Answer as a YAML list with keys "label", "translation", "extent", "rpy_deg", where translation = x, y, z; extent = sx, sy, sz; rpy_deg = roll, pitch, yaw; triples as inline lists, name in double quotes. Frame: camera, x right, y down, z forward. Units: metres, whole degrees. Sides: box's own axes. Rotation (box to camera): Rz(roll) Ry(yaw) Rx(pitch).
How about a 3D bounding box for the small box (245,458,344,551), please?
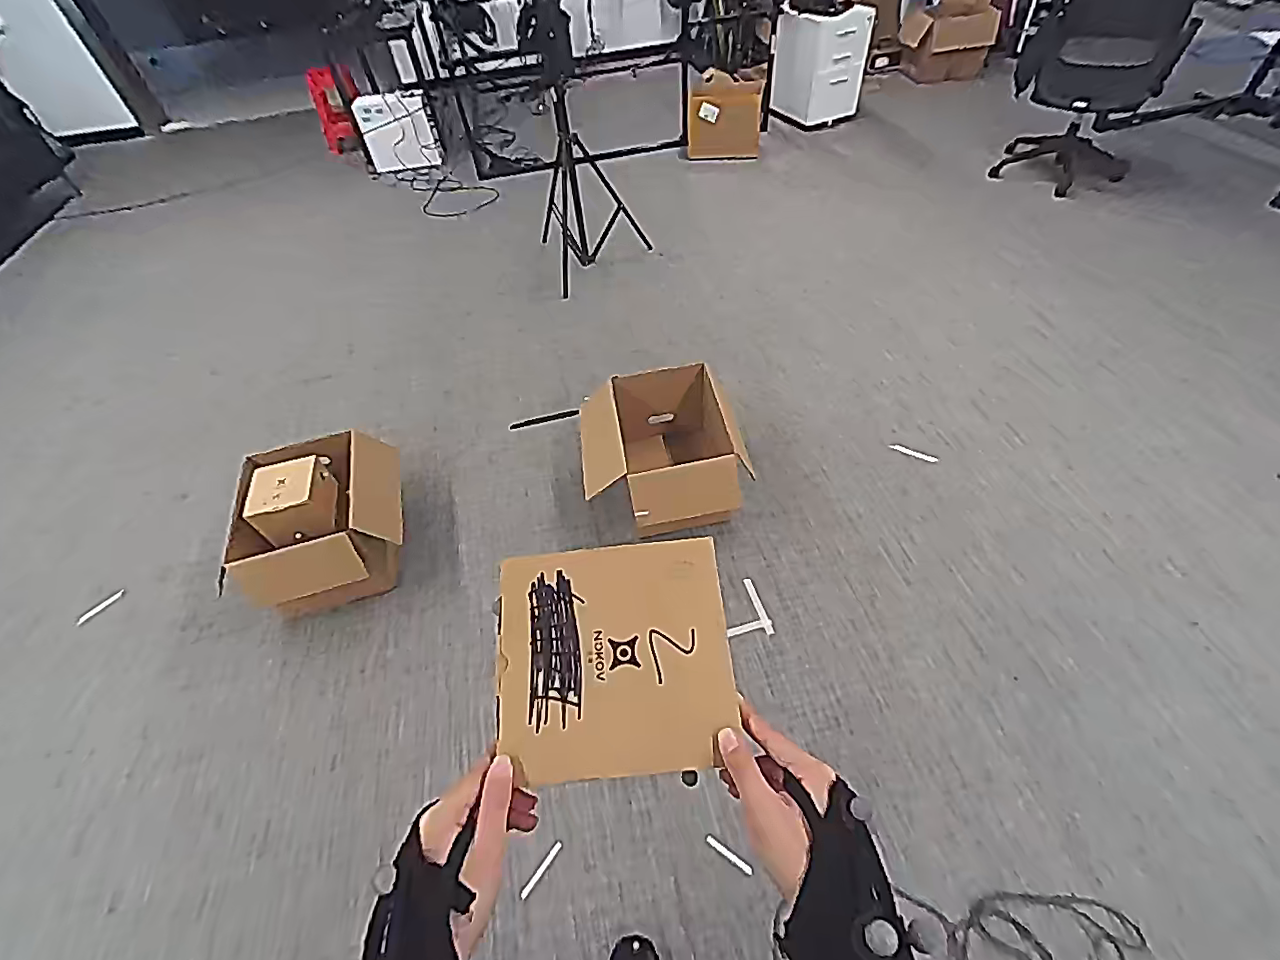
- label: "small box"
  translation: [-0.955, 0.071, 1.513]
  extent: [0.168, 0.176, 0.179]
  rpy_deg: [-15, 51, -6]
